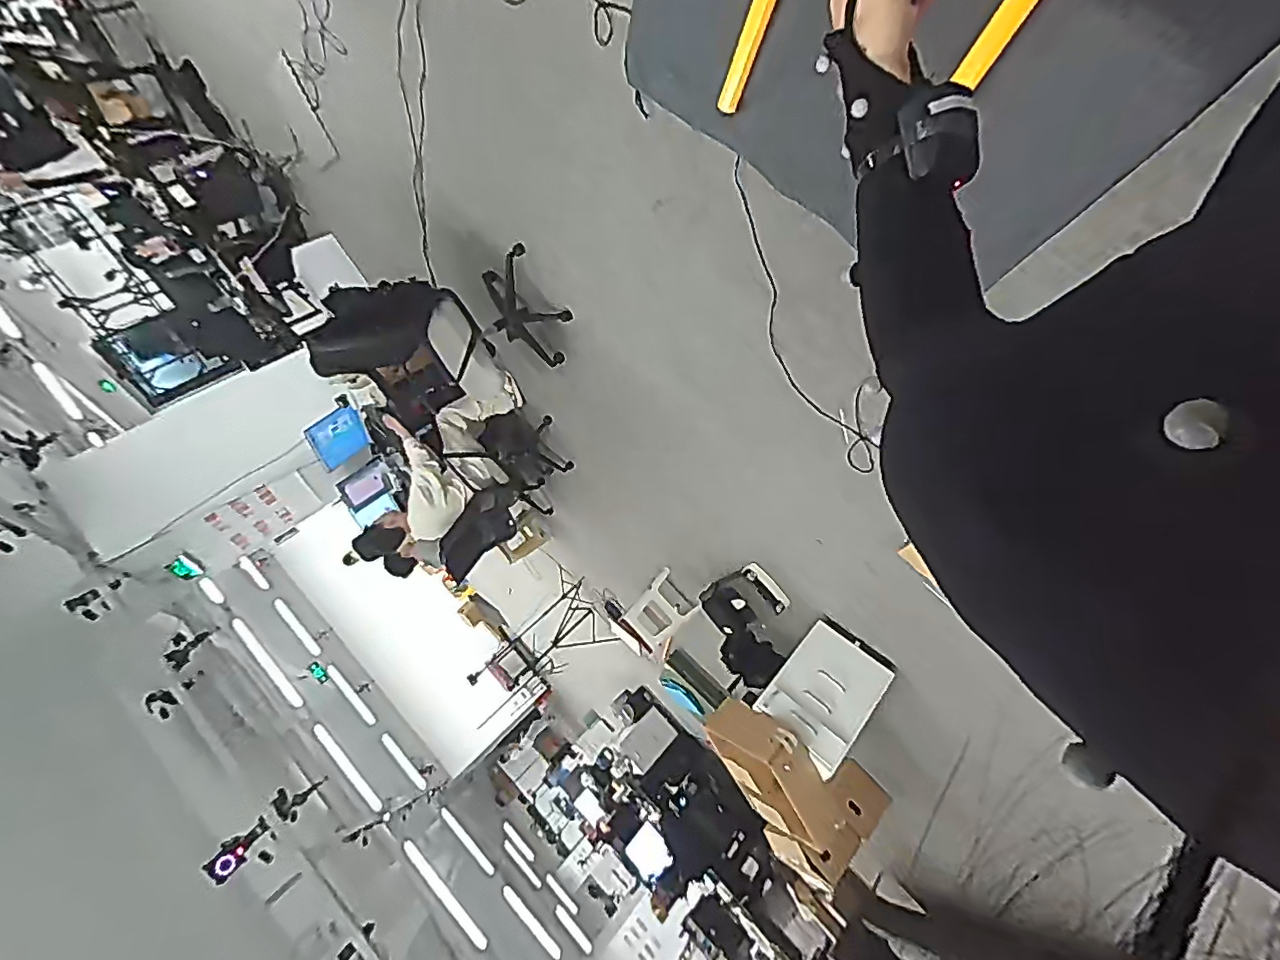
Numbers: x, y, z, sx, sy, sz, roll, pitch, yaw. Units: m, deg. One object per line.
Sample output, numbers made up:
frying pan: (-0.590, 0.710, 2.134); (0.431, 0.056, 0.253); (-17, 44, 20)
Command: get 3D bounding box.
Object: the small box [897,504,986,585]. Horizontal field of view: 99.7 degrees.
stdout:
small box: (0.989, 0.208, 1.765); (0.168, 0.176, 0.179); (43, 152, 12)
